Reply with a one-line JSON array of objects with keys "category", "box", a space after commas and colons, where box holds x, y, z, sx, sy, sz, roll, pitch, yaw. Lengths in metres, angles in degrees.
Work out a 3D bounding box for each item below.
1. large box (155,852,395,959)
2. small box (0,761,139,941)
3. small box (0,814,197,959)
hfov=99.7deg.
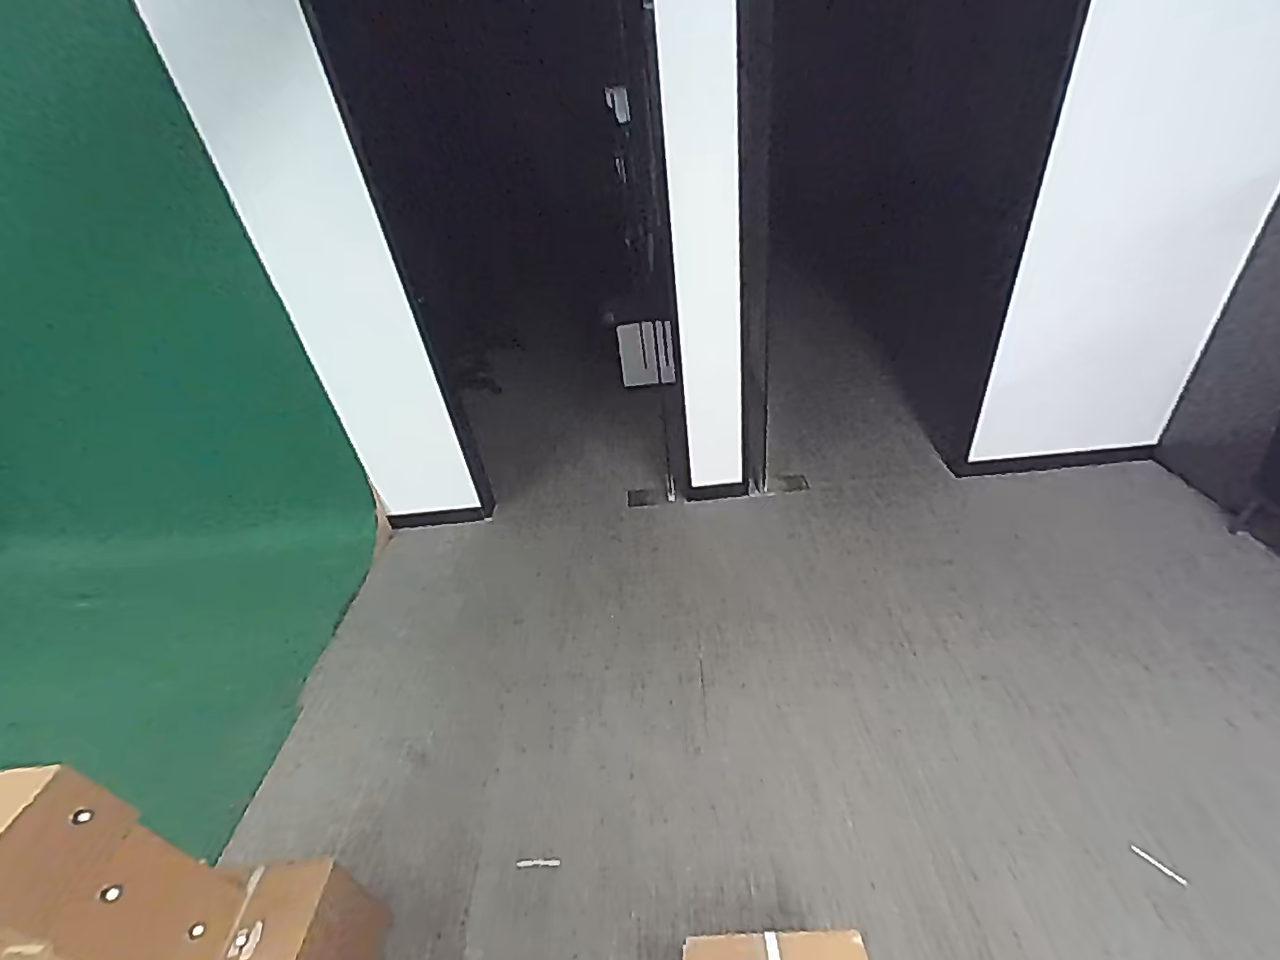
[{"category": "large box", "box": [-0.753, 1.041, 1.070, 0.320, 0.320, 0.408, -7, 34, 4]}, {"category": "small box", "box": [-0.916, 0.551, 0.804, 0.168, 0.176, 0.179, -8, 36, 7]}, {"category": "small box", "box": [-0.892, 0.687, 0.892, 0.168, 0.176, 0.179, -9, 35, 5]}]
